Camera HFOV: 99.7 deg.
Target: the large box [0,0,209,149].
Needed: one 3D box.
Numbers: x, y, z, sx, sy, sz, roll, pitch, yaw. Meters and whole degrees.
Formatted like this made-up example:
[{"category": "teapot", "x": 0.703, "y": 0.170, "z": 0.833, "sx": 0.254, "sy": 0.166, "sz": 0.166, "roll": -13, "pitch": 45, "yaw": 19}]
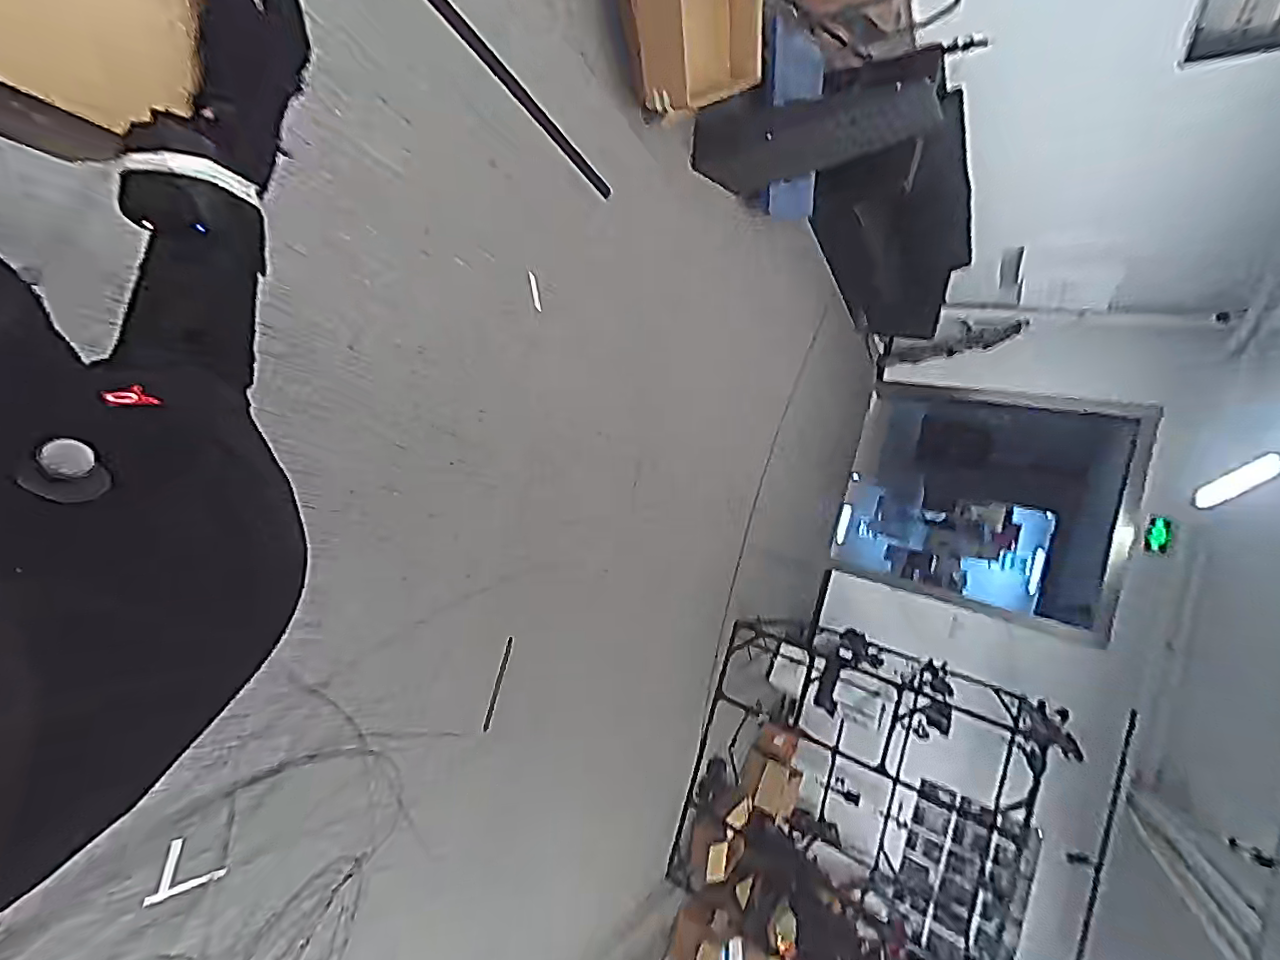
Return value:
[{"category": "large box", "x": -0.530, "y": -0.444, "z": 0.295, "sx": 0.408, "sy": 0.320, "sz": 0.320, "roll": 4, "pitch": 105, "yaw": -60}]
